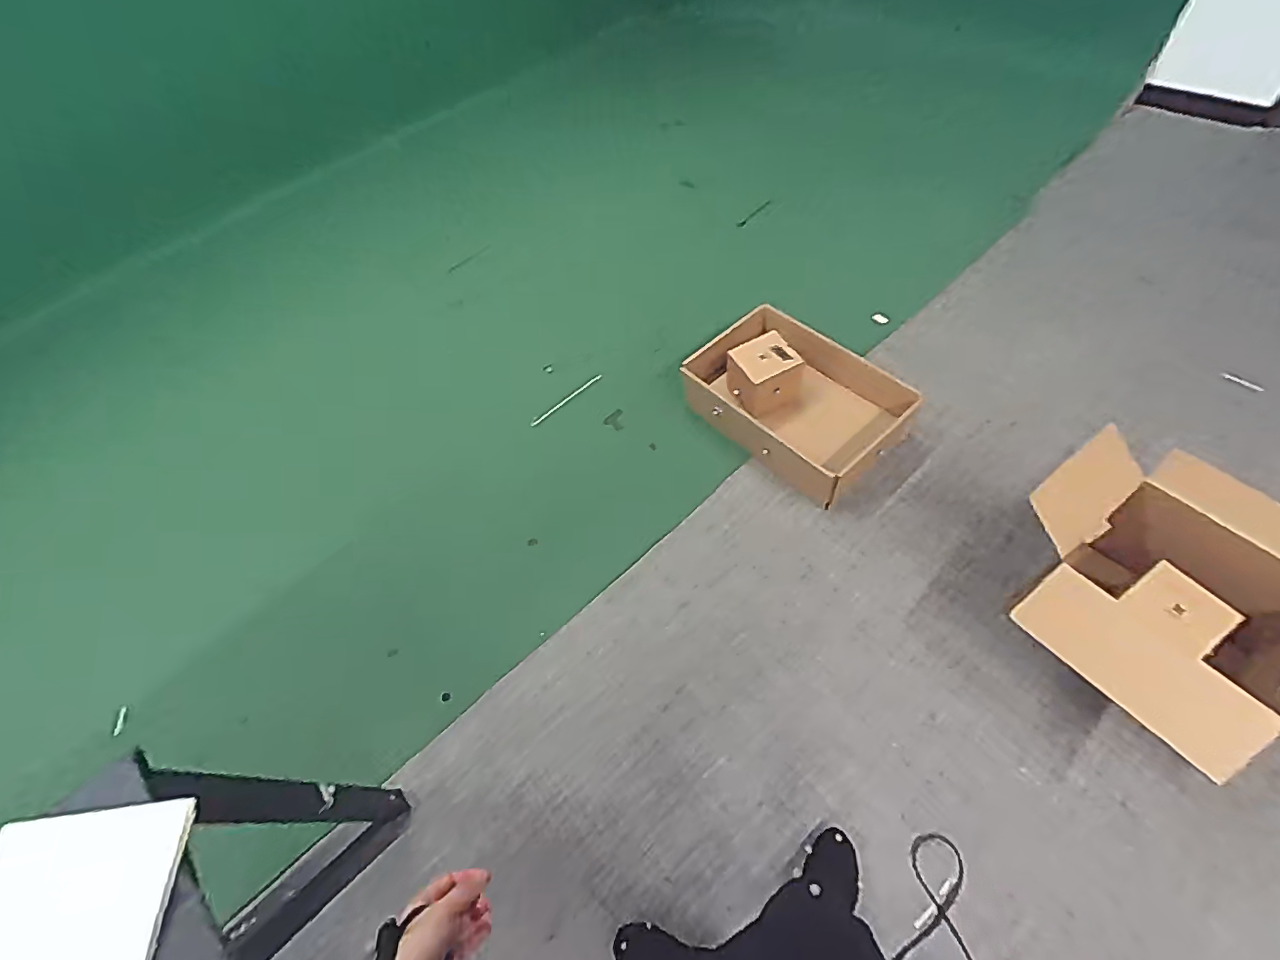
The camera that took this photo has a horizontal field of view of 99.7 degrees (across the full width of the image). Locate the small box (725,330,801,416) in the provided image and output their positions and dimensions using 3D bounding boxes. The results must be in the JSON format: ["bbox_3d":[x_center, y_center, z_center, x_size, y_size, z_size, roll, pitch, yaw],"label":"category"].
[{"bbox_3d":[0.385,-0.338,1.728,0.179,0.176,0.168,-26,58,-8],"label":"small box"}]
